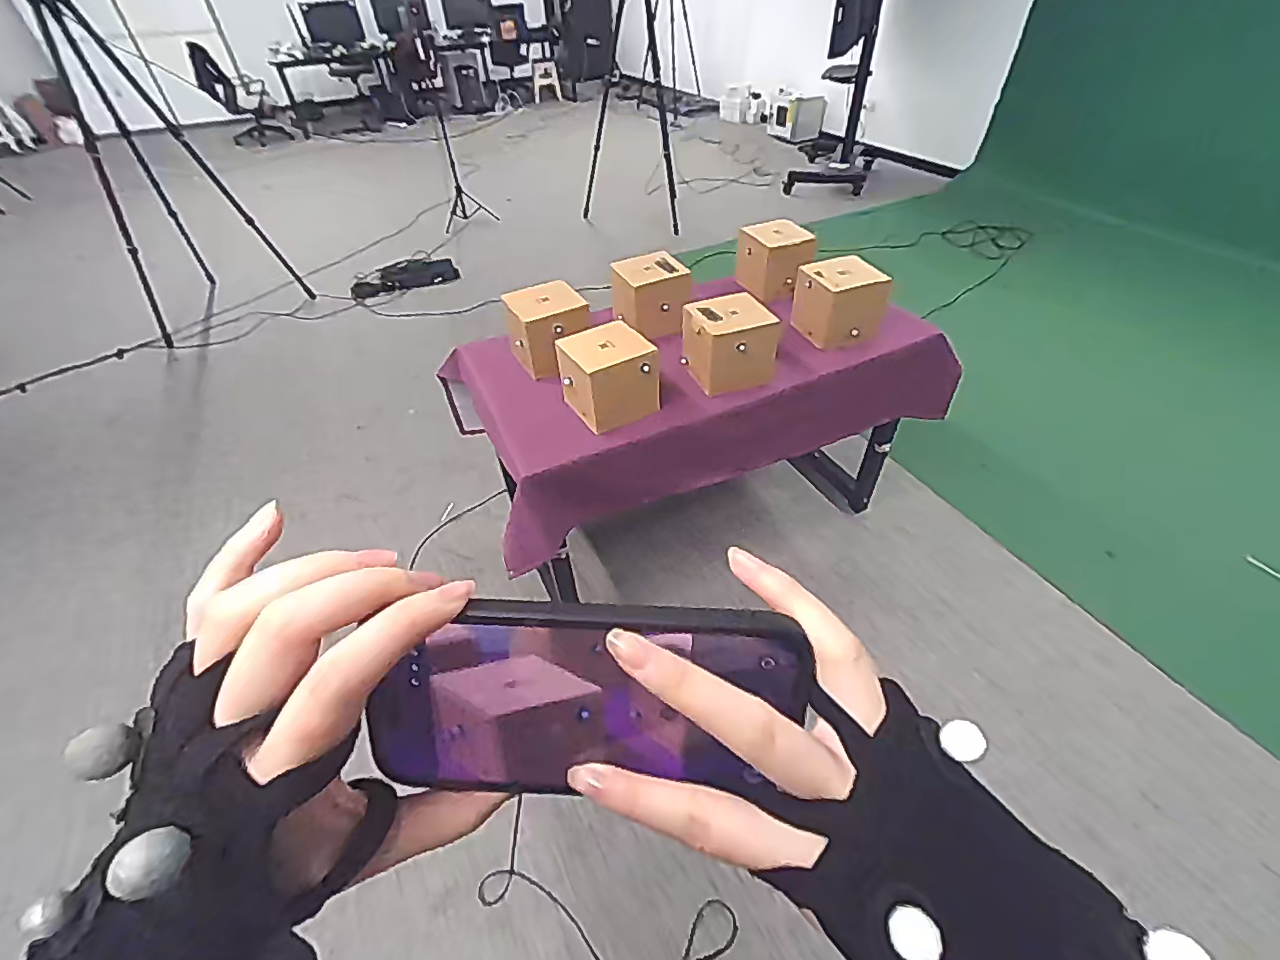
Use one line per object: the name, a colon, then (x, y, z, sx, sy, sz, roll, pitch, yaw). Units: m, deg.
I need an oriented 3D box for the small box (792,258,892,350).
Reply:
small box: (0.534, -0.475, 1.460, 0.179, 0.176, 0.168, -15, 45, -12)

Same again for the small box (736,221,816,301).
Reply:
small box: (0.411, -0.675, 1.668, 0.168, 0.176, 0.179, -18, 47, -14)

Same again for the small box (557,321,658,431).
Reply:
small box: (-0.070, -0.238, 1.247, 0.179, 0.176, 0.168, -24, 48, -22)

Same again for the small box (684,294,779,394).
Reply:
small box: (0.218, -0.332, 1.329, 0.179, 0.176, 0.168, -15, 46, -14)
